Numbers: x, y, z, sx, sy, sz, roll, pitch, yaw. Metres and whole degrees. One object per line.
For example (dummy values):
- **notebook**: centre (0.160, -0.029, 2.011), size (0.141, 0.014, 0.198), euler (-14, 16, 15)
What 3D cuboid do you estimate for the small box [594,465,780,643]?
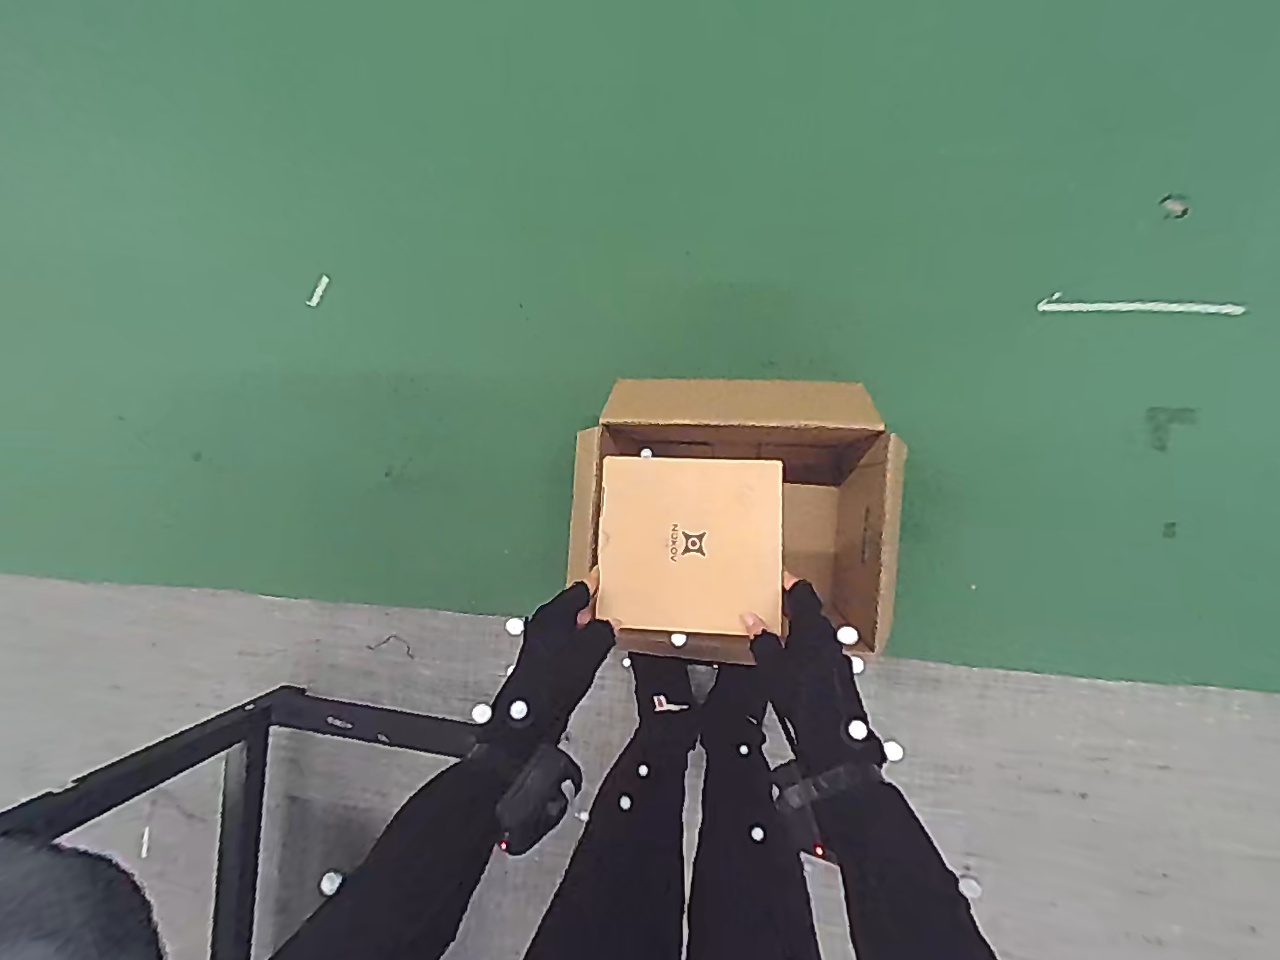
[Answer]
- **small box**: centre (0.054, 0.081, 0.601), size (0.179, 0.176, 0.168), euler (2, 80, 7)
